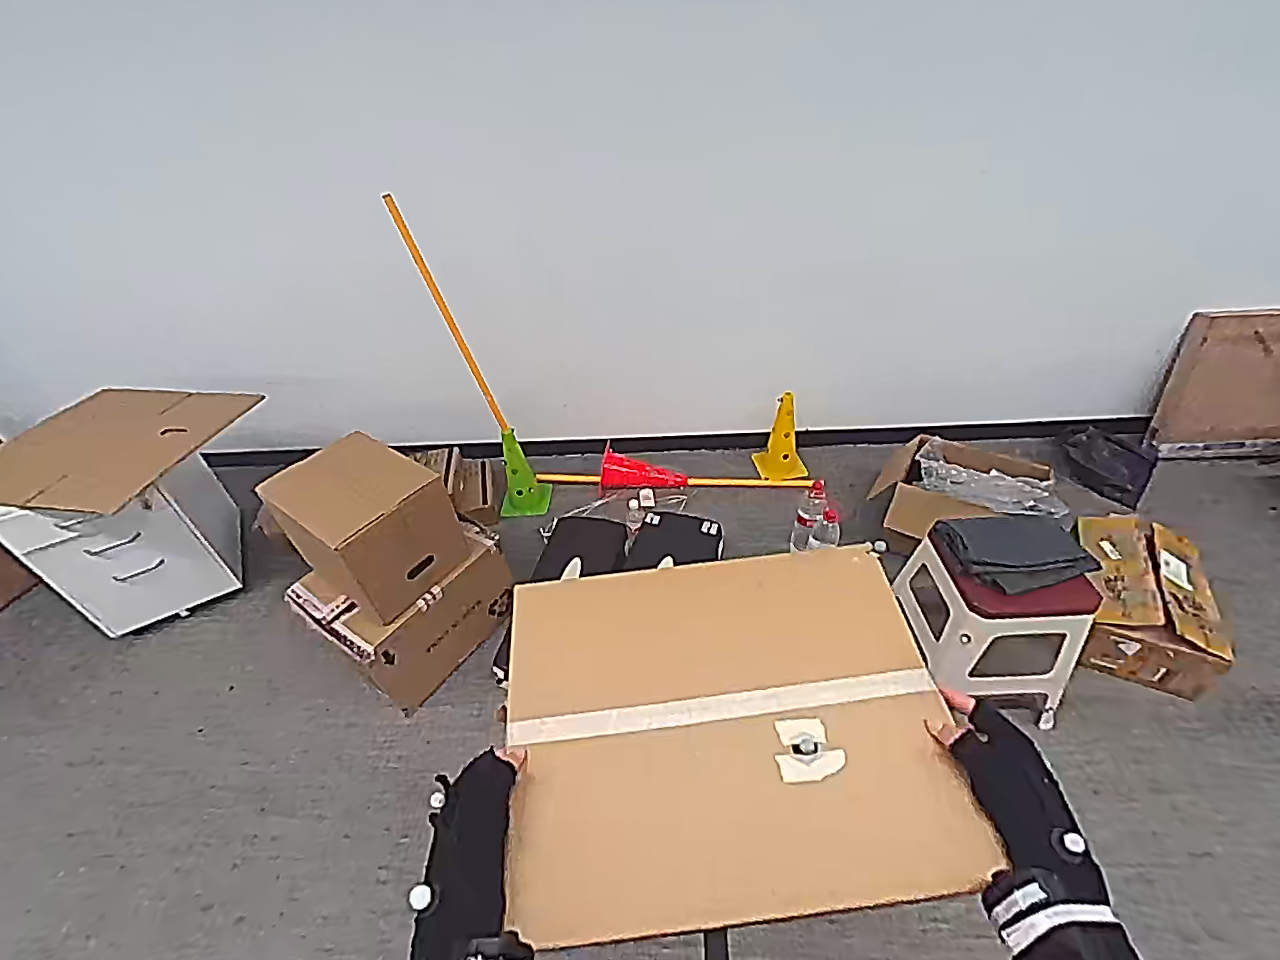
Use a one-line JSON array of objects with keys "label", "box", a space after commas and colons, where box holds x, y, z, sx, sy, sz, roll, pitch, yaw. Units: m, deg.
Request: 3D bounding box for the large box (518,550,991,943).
[{"label": "large box", "box": [0.086, 0.319, 0.646, 0.408, 0.320, 0.320, -7, 51, -2]}]
